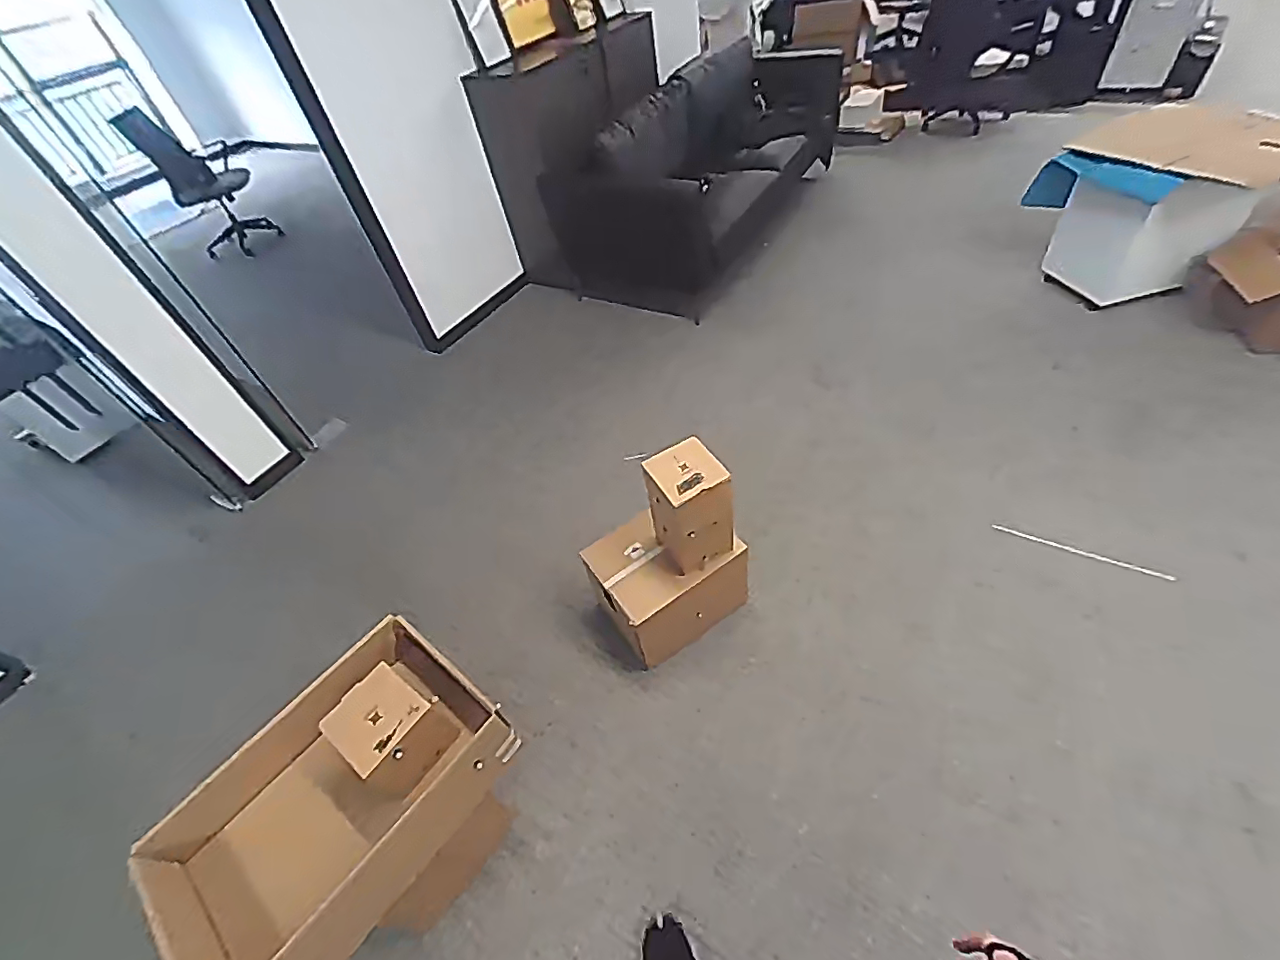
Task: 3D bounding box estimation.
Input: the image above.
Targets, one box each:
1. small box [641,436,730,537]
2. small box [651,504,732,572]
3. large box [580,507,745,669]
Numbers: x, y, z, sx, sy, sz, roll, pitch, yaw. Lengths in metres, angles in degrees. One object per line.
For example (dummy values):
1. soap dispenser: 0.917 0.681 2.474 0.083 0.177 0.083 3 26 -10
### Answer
1. small box: 0.123 0.025 1.397 0.168 0.176 0.179 -27 50 -12
2. small box: 0.144 0.126 1.524 0.168 0.176 0.179 -27 51 -12
3. large box: 0.084 0.308 1.704 0.408 0.320 0.320 -32 50 -16
